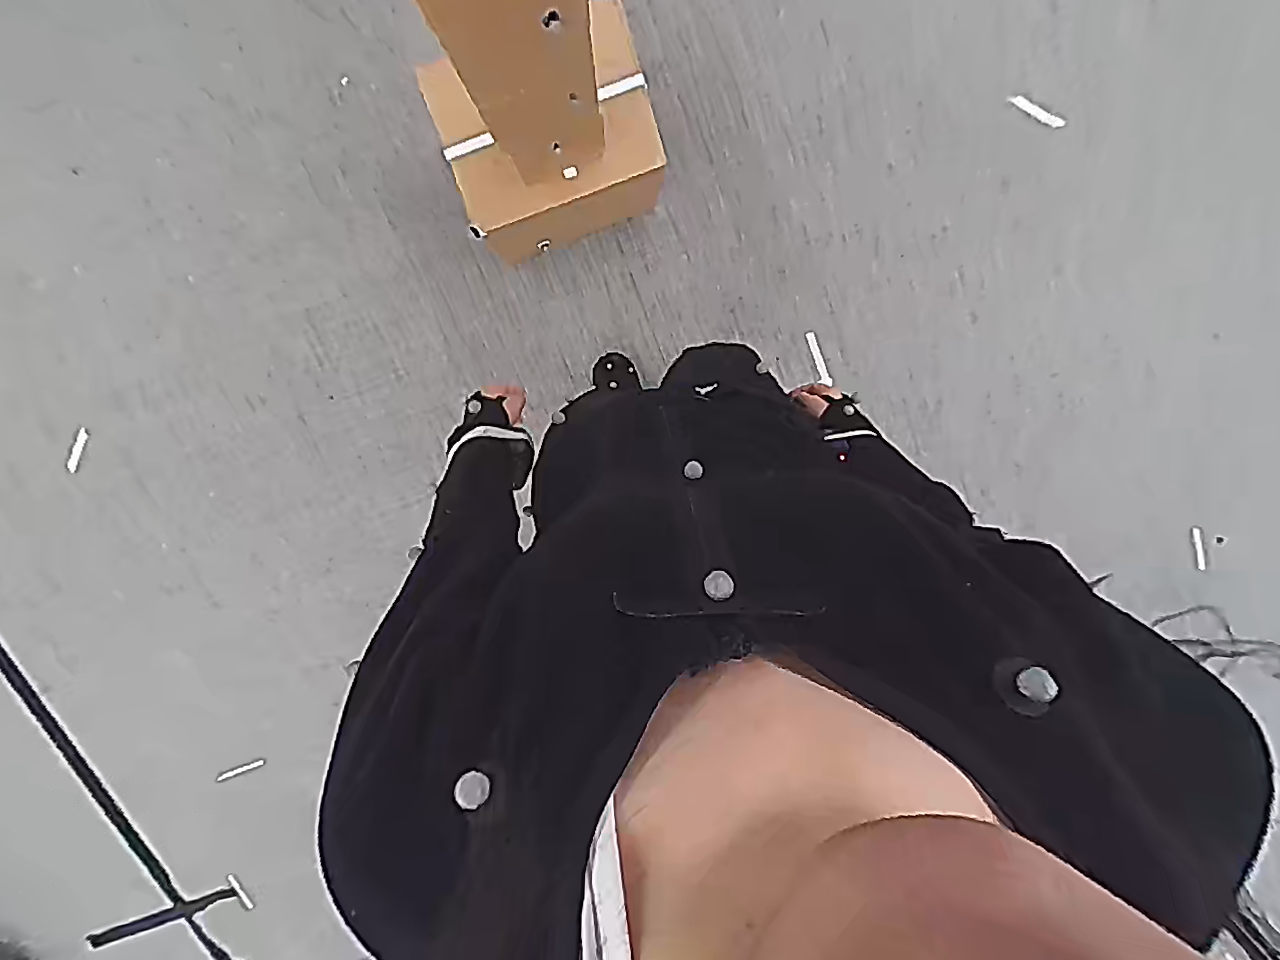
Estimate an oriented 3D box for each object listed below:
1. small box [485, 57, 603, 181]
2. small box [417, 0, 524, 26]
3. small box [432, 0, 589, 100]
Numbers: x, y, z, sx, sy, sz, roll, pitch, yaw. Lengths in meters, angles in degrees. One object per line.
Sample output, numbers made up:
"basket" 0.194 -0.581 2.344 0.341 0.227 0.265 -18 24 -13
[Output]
"small box" -0.174 -0.664 0.959 0.179 0.176 0.168 -22 103 2
"small box" -0.160 -0.563 0.480 0.179 0.176 0.168 -18 103 2
"small box" -0.165 -0.596 0.638 0.179 0.176 0.168 -18 102 2
